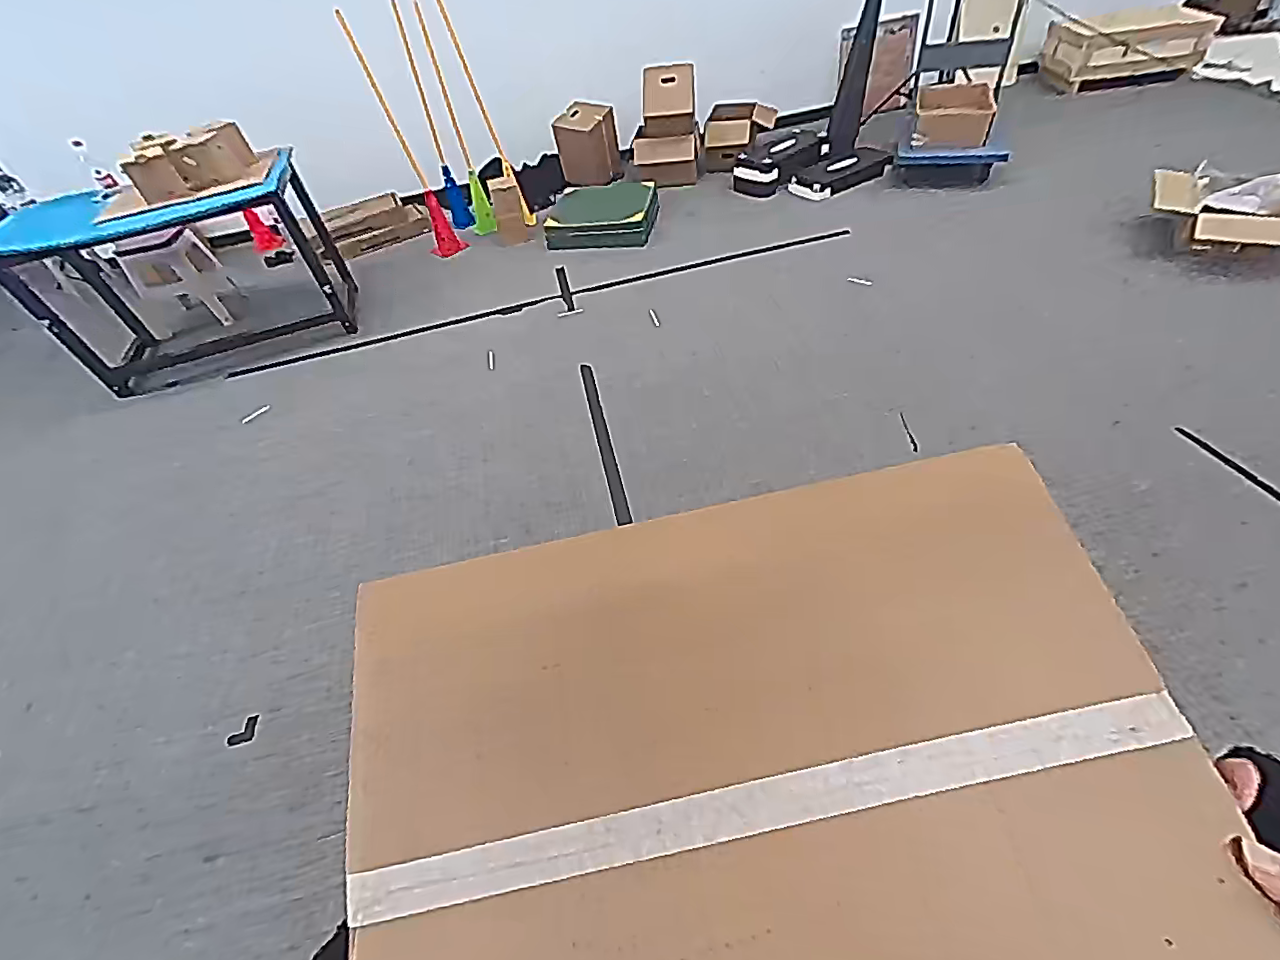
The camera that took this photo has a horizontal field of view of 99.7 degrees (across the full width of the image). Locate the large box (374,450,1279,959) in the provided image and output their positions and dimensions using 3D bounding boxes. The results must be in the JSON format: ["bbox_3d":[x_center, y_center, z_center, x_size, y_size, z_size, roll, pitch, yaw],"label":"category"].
[{"bbox_3d":[0.075,0.224,0.402,0.408,0.320,0.320,-13,64,0],"label":"large box"}]
